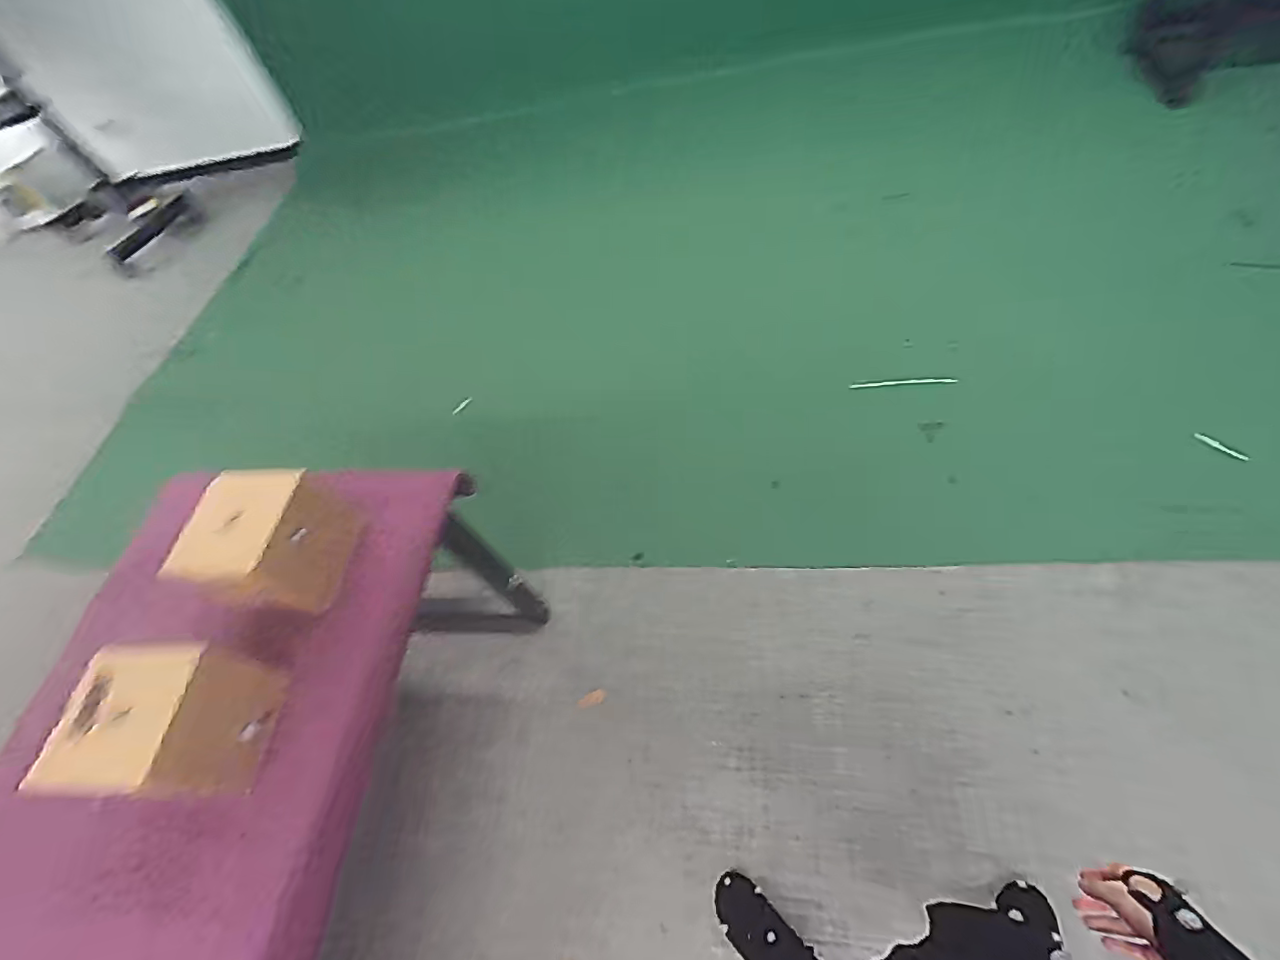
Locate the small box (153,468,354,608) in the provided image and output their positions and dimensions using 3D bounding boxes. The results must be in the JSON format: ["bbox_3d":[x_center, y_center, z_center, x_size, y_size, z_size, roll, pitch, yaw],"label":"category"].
[{"bbox_3d":[-0.605,0.099,0.876,0.168,0.176,0.179,0,58,13],"label":"small box"}]

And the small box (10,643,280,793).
[{"bbox_3d":[-0.651,0.329,0.739,0.179,0.176,0.168,-4,57,9],"label":"small box"}]
